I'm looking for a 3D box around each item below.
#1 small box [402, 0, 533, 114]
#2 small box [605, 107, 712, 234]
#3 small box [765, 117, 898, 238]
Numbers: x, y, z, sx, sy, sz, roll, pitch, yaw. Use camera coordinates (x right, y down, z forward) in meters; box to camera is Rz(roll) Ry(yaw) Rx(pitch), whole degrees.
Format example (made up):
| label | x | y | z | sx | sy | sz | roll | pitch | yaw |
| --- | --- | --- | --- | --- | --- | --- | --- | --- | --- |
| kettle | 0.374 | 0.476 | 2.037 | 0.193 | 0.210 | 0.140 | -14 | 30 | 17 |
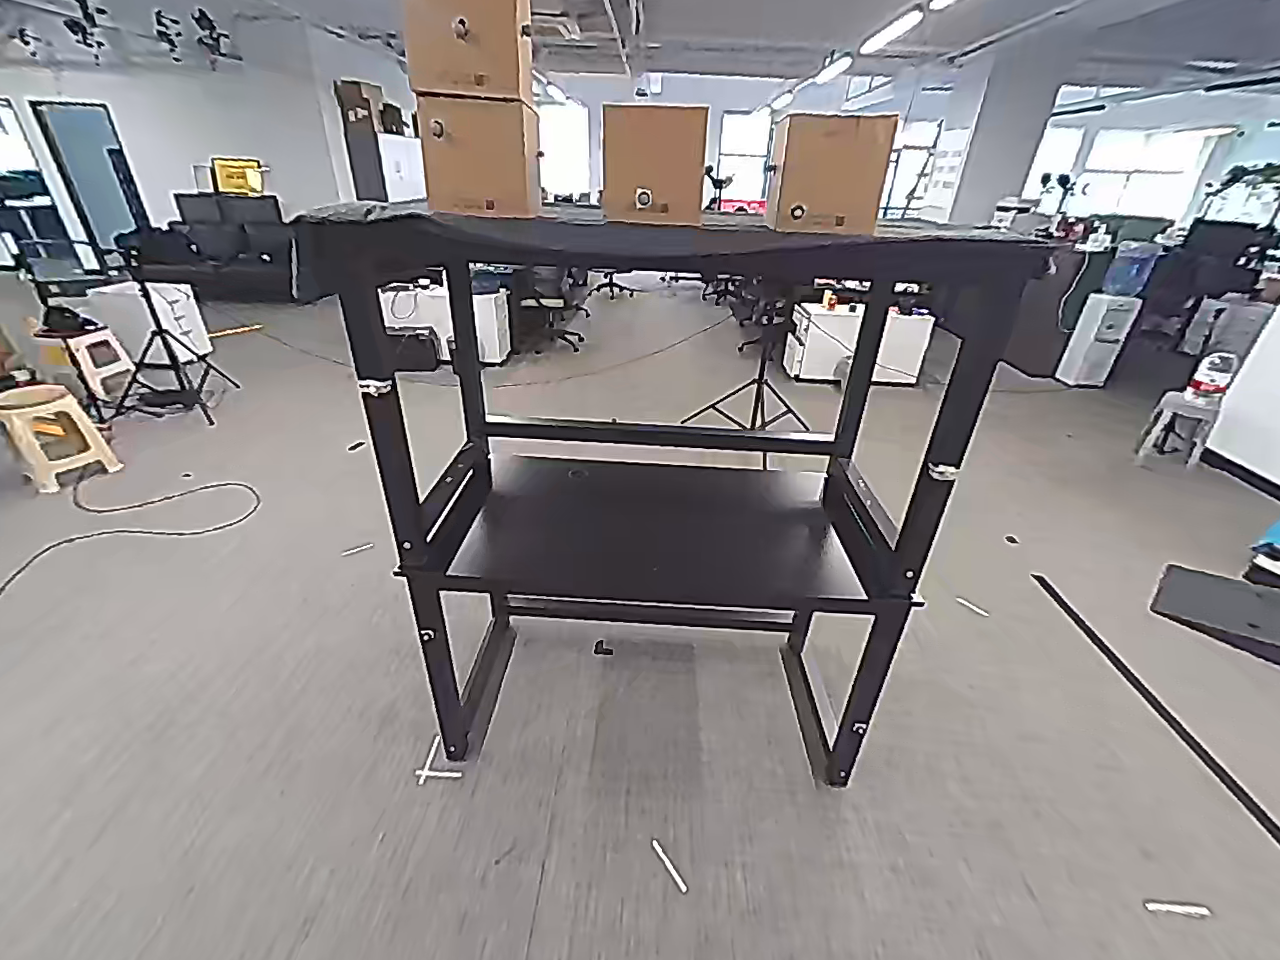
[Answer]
| label | x | y | z | sx | sy | sz | roll | pitch | yaw |
| --- | --- | --- | --- | --- | --- | --- | --- | --- | --- |
| small box | -0.259 | -0.683 | 0.847 | 0.168 | 0.176 | 0.179 | 2 | 29 | -5 |
| small box | 0.032 | -0.524 | 0.928 | 0.168 | 0.176 | 0.179 | 3 | 28 | 4 |
| small box | 0.316 | -0.514 | 0.929 | 0.168 | 0.176 | 0.179 | 4 | 28 | 3 |
